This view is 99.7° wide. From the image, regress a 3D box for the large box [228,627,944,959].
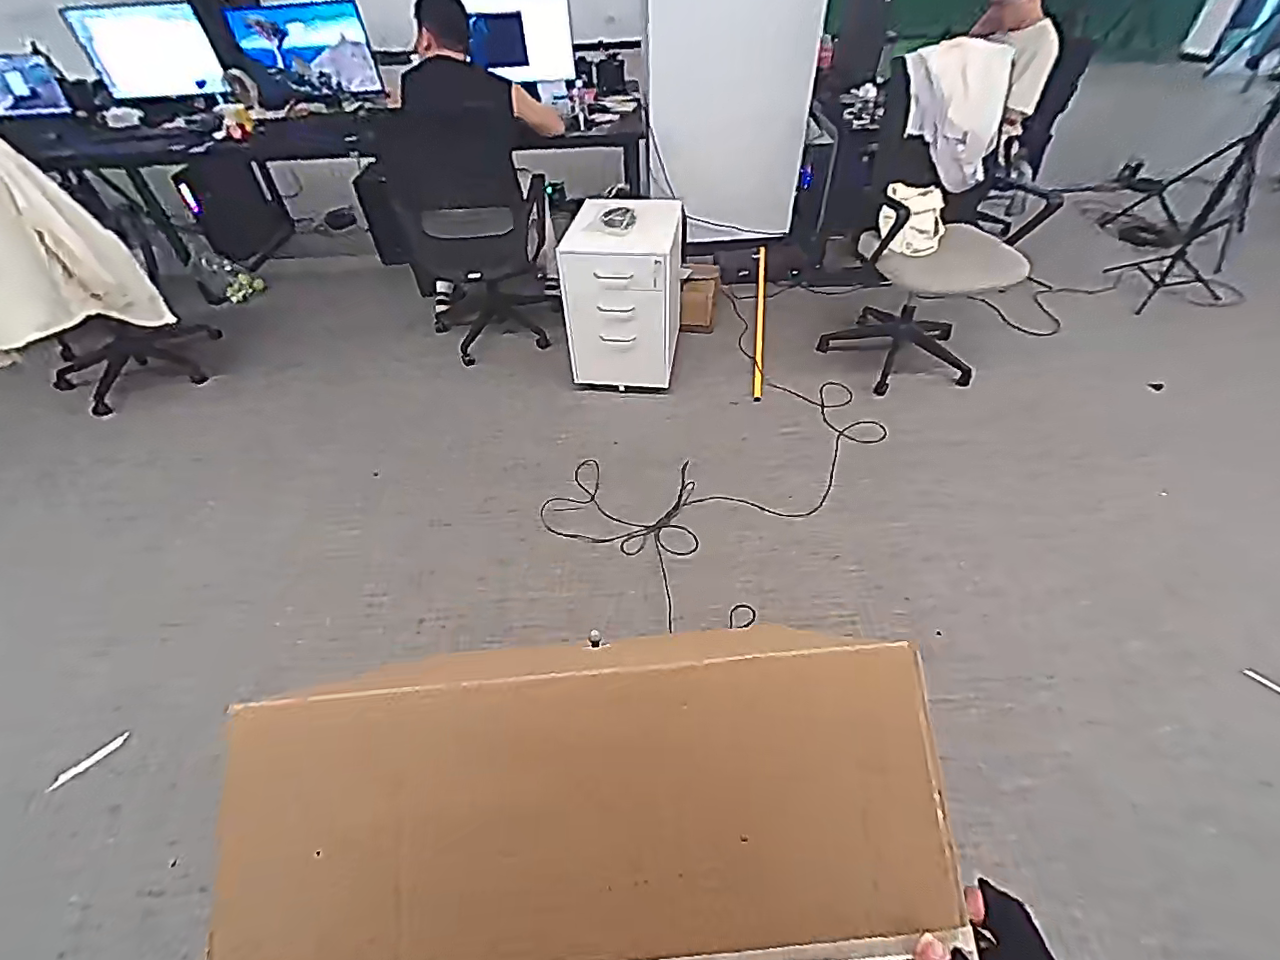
[{"bbox_3d":[-0.025,0.307,0.443,0.408,0.320,0.320,-5,77,-1],"label":"large box"}]
